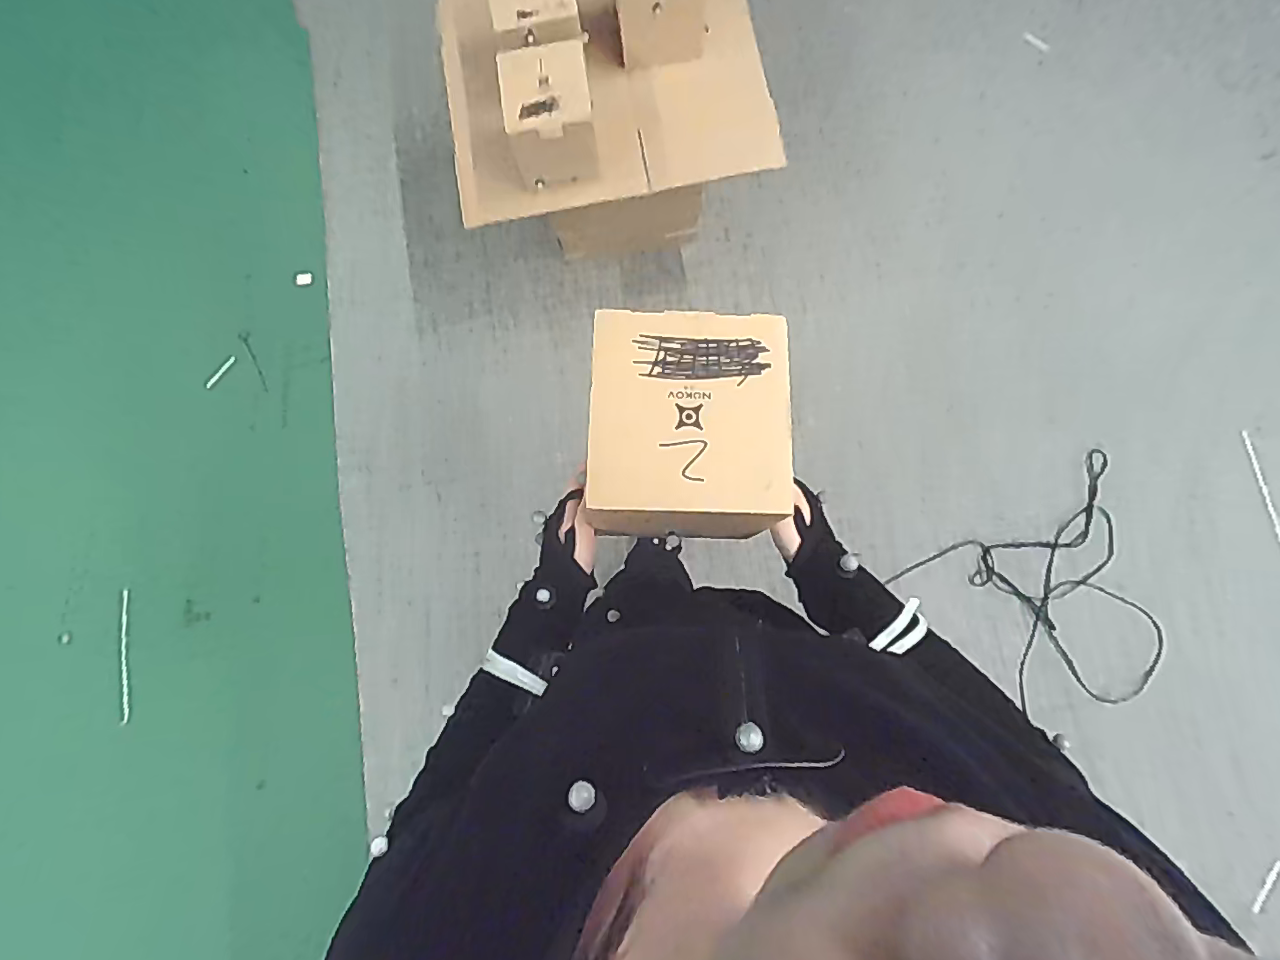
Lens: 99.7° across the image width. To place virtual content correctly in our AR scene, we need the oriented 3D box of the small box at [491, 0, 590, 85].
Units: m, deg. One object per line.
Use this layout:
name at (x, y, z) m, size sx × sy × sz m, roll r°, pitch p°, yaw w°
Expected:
small box at (-0.205, -0.931, 1.122) m, size 0.168 × 0.176 × 0.179 m, roll -11°, pitch 79°, yaw 1°

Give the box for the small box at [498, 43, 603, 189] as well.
small box at (-0.172, -0.714, 1.085) m, size 0.168 × 0.176 × 0.179 m, roll -9°, pitch 80°, yaw 2°

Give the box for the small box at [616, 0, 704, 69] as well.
small box at (0.038, -1.001, 1.122) m, size 0.179 × 0.176 × 0.168 m, roll -7°, pitch 81°, yaw 3°
